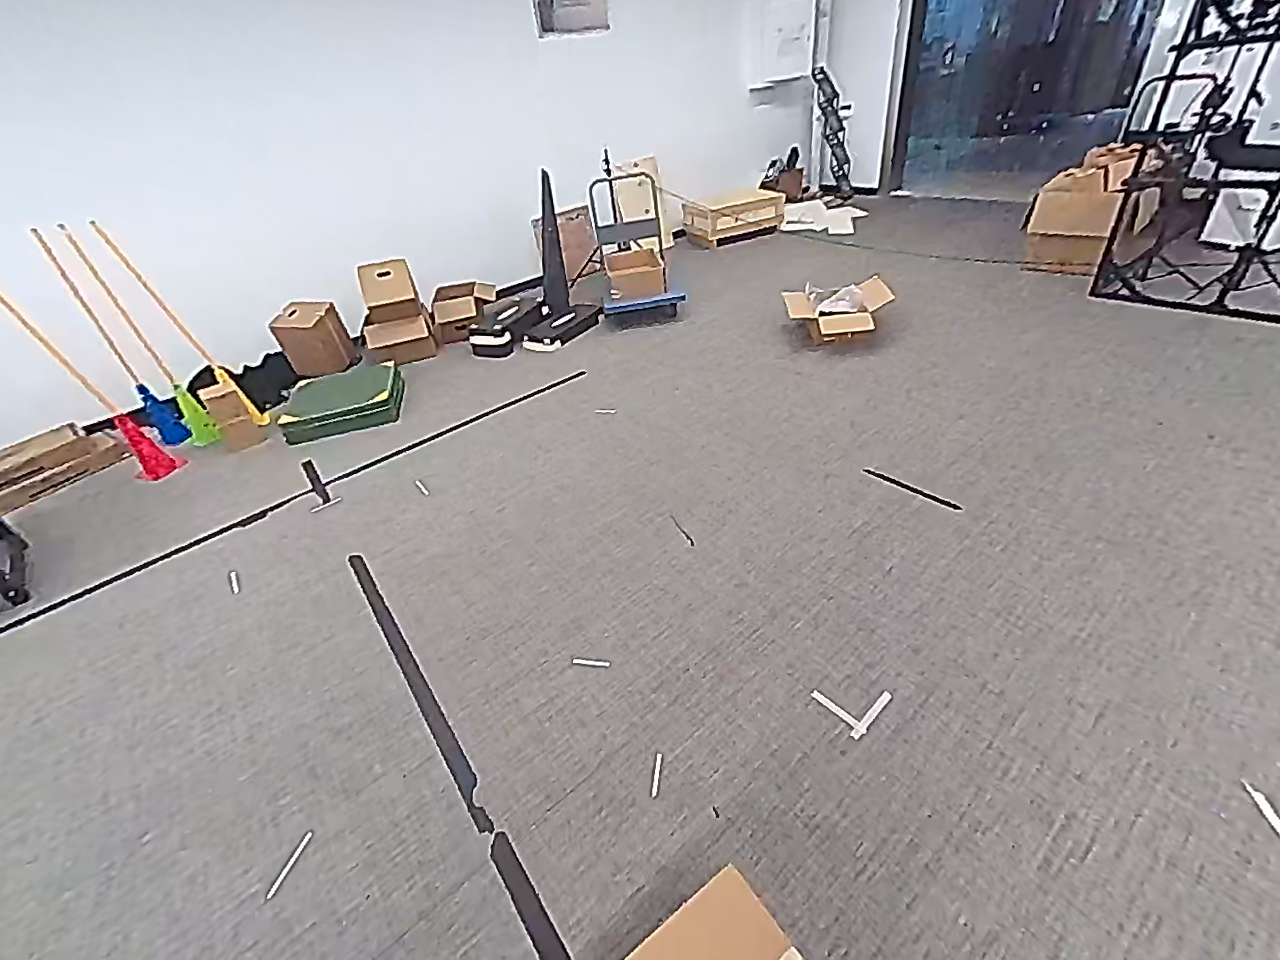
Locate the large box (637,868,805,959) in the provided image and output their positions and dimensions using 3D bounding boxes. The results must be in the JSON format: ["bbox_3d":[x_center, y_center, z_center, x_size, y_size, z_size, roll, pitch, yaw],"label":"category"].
[{"bbox_3d":[0.112,0.947,0.848,0.408,0.320,0.320,-27,40,-23],"label":"large box"}]
